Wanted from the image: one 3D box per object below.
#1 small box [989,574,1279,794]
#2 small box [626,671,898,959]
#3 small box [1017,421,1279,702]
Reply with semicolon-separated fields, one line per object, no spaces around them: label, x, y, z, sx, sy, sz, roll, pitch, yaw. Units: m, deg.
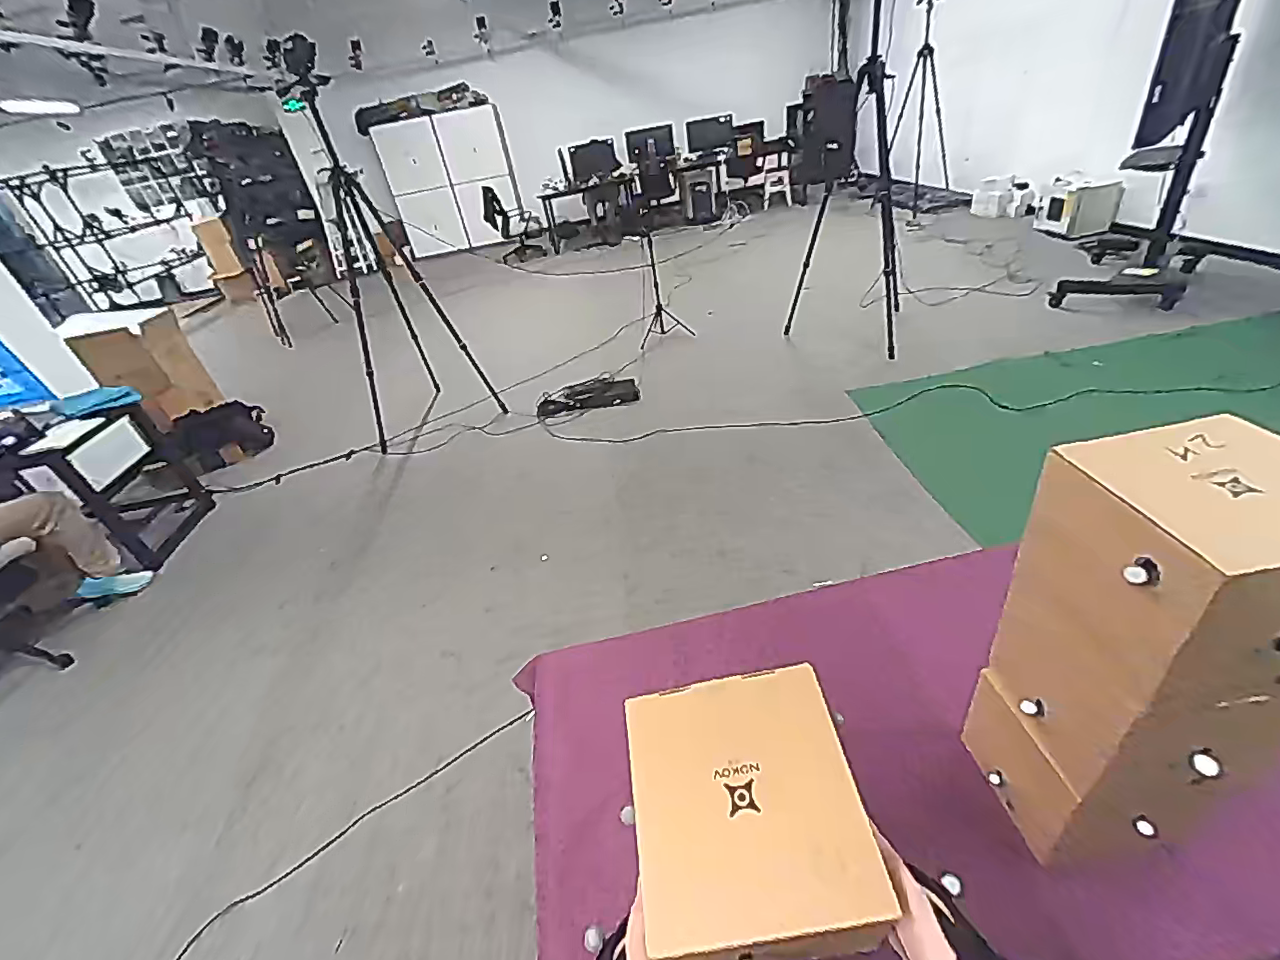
small box;0.511;0.206;0.572;0.168;0.176;0.179;-9;35;3
small box;0.092;0.293;0.454;0.168;0.176;0.179;-13;42;4
small box;0.481;0.073;0.478;0.168;0.176;0.179;-10;34;2
